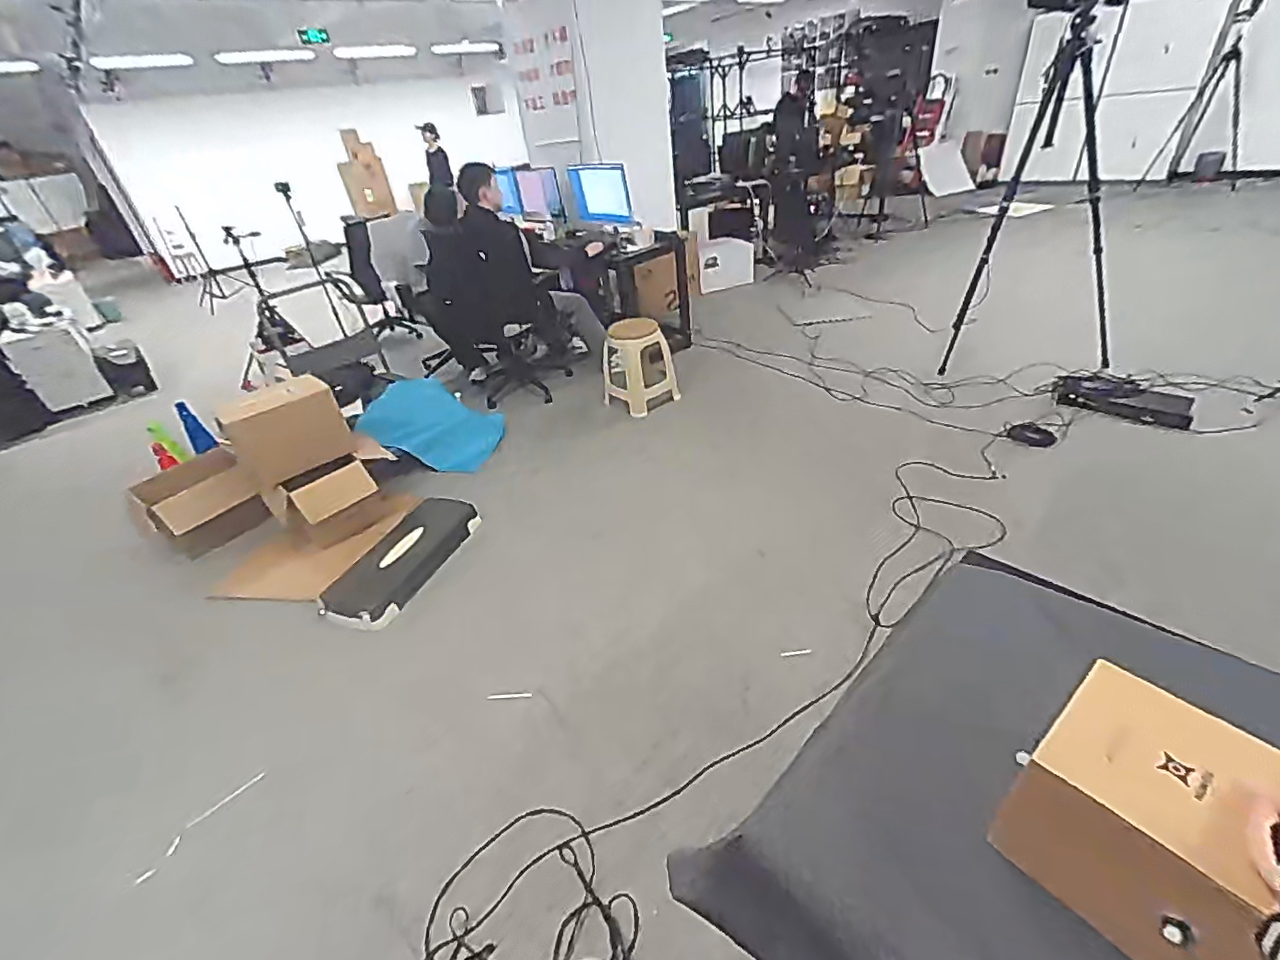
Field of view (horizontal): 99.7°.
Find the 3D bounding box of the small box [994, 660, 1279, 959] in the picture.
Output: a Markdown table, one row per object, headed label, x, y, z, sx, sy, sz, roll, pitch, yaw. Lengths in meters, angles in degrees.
| label | x | y | z | sx | sy | sz | roll | pitch | yaw |
| --- | --- | --- | --- | --- | --- | --- | --- | --- | --- |
| small box | 0.479 | 0.318 | 0.510 | 0.168 | 0.176 | 0.179 | -27 | 37 | -28 |
